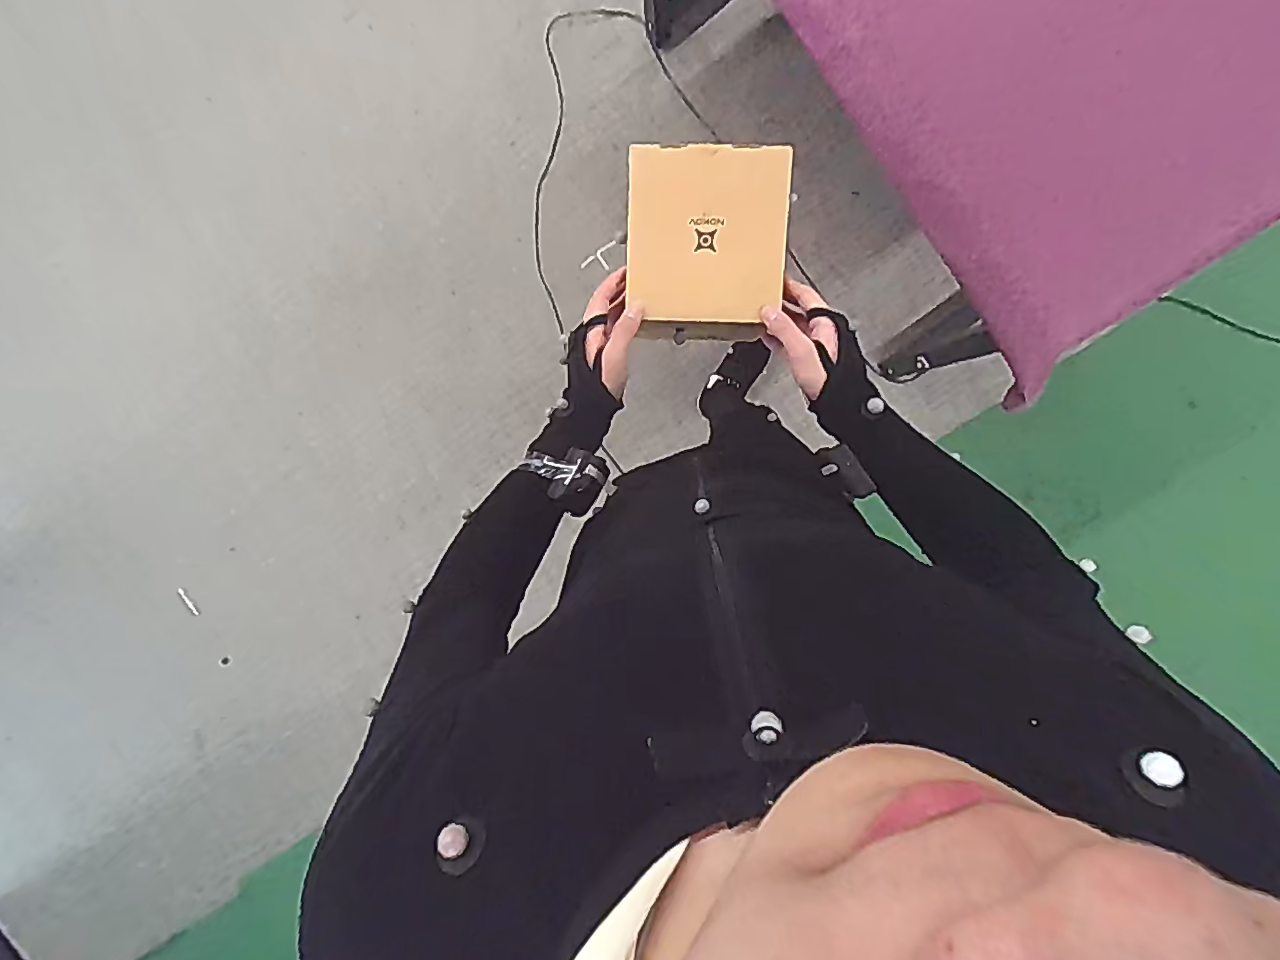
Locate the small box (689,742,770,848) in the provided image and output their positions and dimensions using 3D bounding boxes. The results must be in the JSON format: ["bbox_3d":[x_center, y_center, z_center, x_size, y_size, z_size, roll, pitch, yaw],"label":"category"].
[{"bbox_3d":[0.257,0.917,1.590,0.168,0.176,0.179,-32,92,6],"label":"small box"}]
